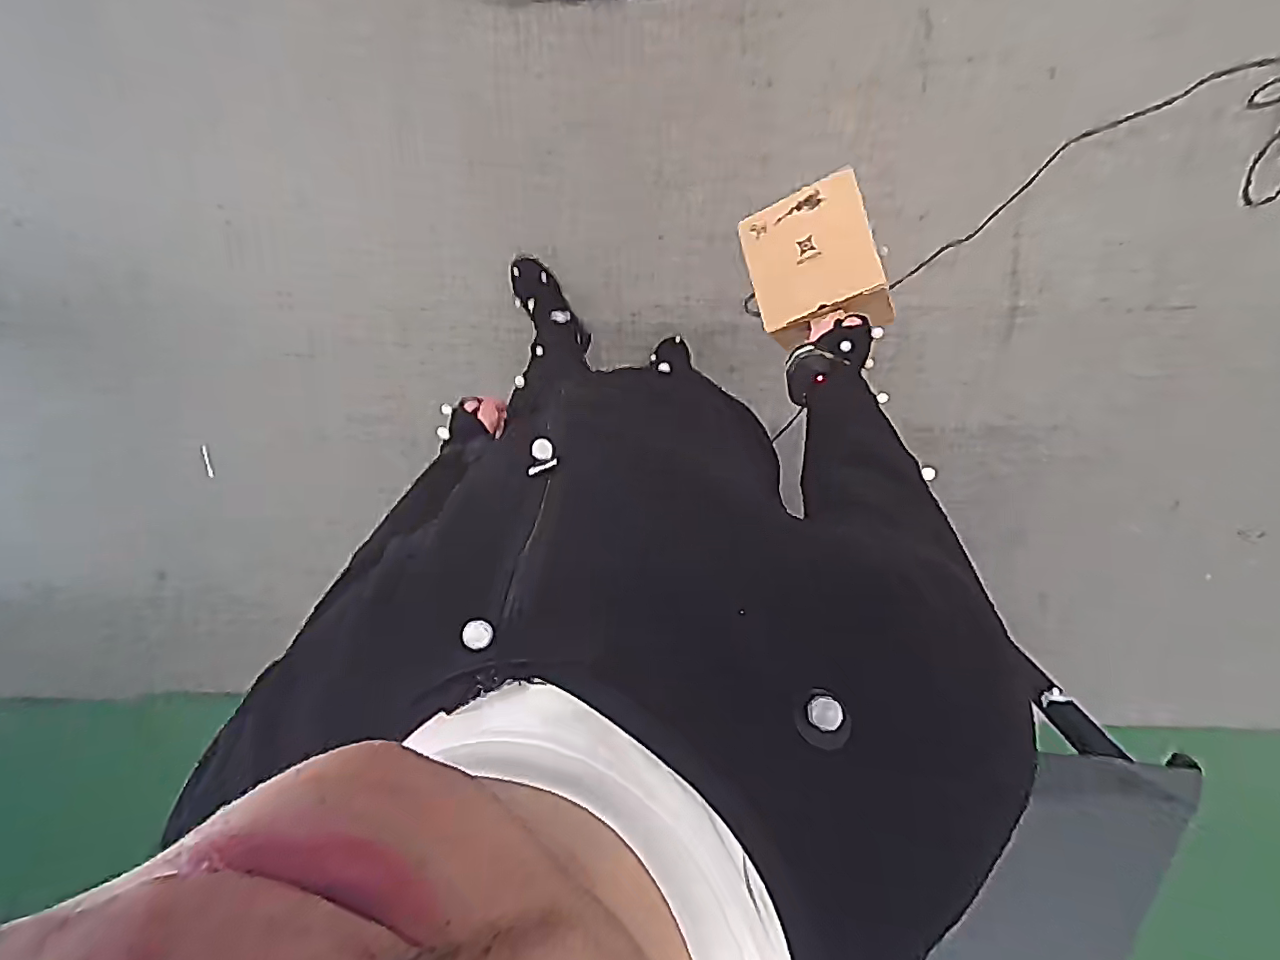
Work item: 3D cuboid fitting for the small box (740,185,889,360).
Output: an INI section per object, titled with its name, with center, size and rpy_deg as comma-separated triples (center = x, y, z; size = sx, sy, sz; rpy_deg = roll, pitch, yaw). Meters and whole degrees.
[small box]
center = 0.272, -0.296, 0.825
size = 0.168, 0.176, 0.179
rpy_deg = -15, 79, 27
